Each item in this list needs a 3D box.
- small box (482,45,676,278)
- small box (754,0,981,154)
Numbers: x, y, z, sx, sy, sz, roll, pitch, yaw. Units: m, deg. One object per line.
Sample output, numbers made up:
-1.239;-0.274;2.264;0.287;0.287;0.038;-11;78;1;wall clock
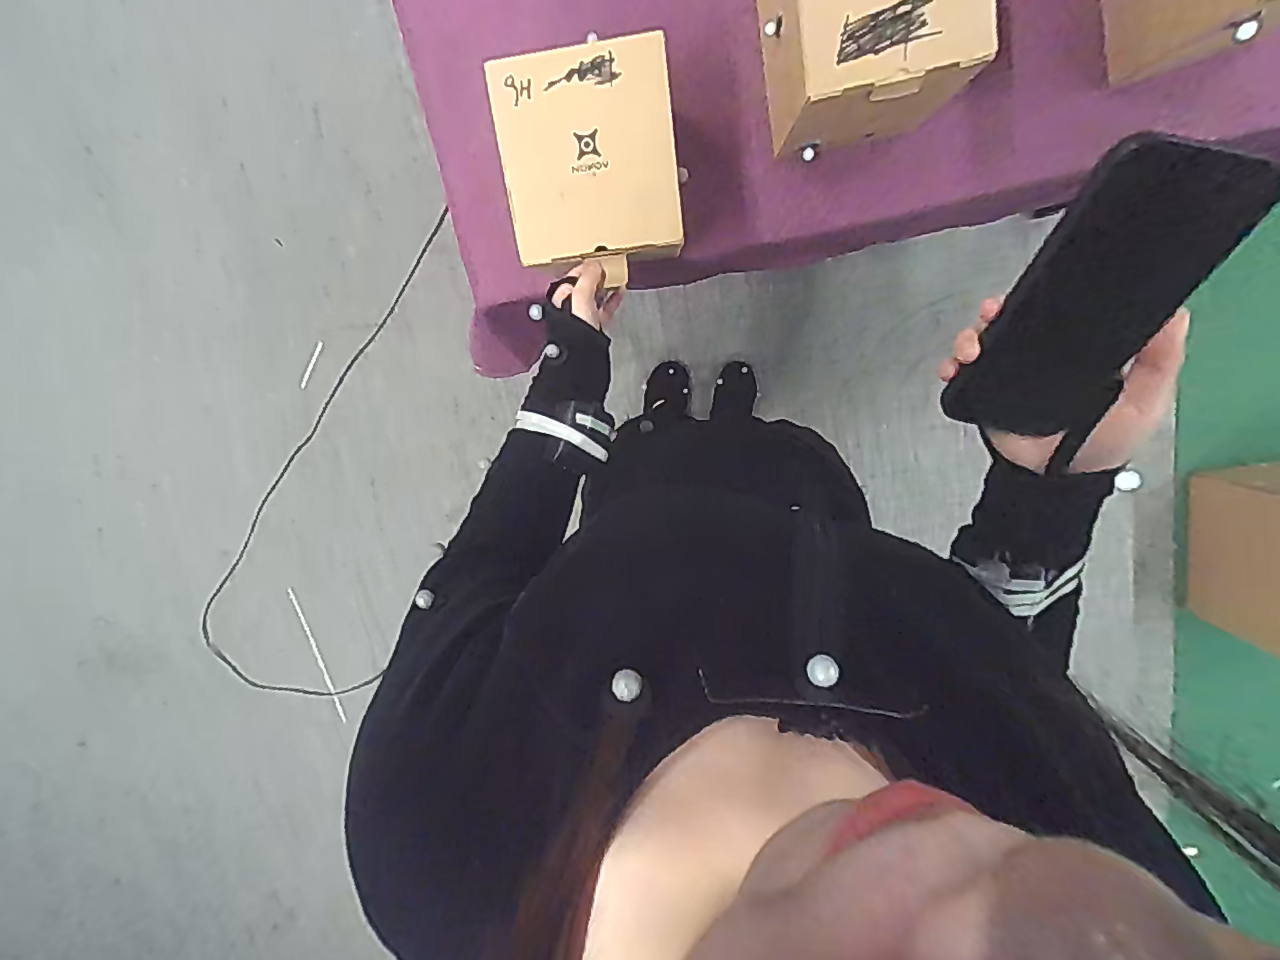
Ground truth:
-0.049;-0.321;0.585;0.168;0.176;0.179;-6;108;5;small box
0.216;-0.455;0.547;0.168;0.176;0.179;-8;104;5;small box
